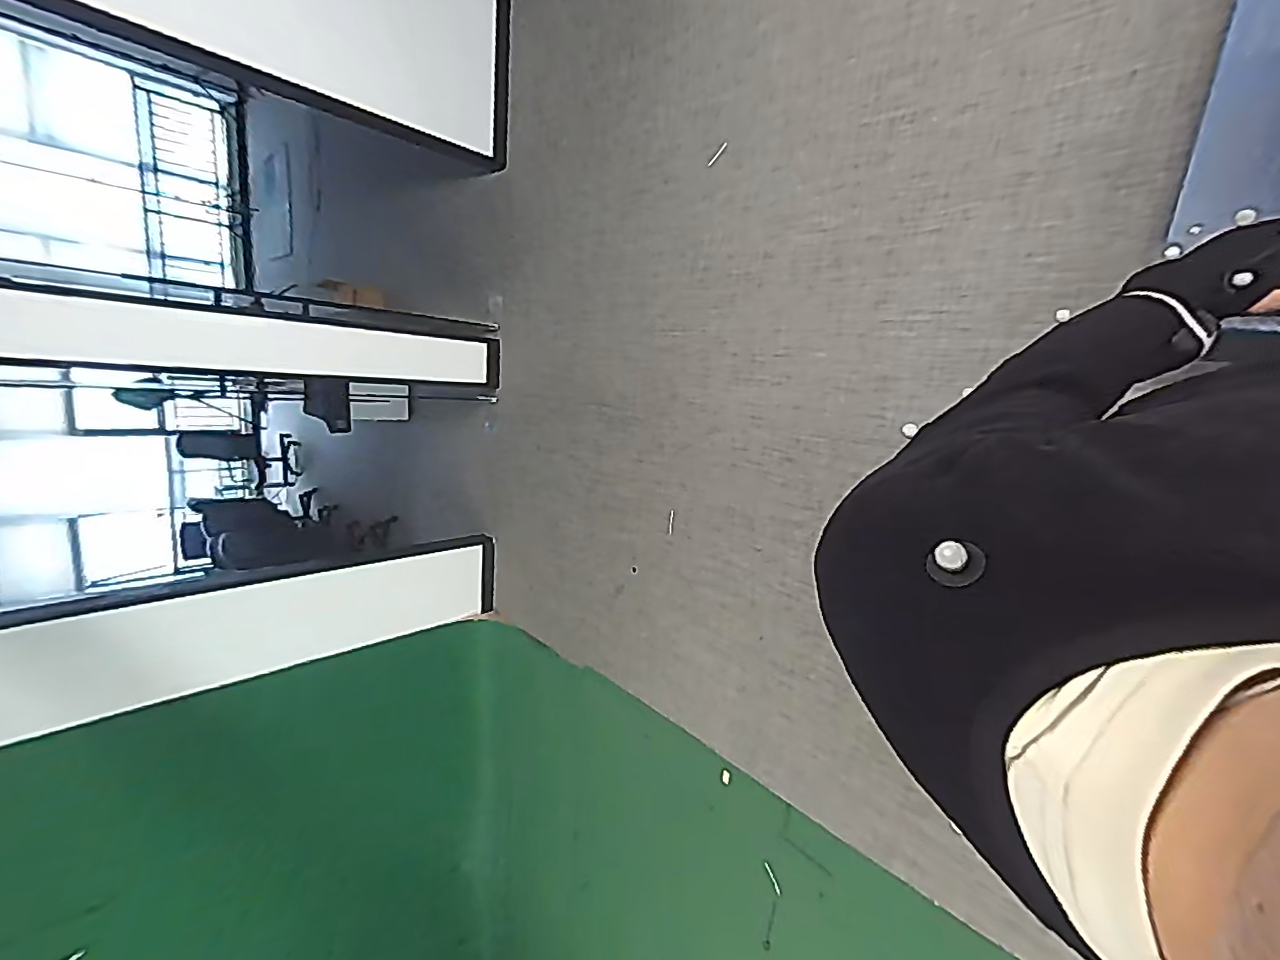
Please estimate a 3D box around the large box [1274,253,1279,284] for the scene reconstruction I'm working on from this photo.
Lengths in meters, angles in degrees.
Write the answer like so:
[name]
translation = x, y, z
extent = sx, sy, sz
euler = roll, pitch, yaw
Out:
[large box]
translation = 1.146, -0.503, 0.722
extent = 0.320, 0.320, 0.408
euler = 18, 105, 43
